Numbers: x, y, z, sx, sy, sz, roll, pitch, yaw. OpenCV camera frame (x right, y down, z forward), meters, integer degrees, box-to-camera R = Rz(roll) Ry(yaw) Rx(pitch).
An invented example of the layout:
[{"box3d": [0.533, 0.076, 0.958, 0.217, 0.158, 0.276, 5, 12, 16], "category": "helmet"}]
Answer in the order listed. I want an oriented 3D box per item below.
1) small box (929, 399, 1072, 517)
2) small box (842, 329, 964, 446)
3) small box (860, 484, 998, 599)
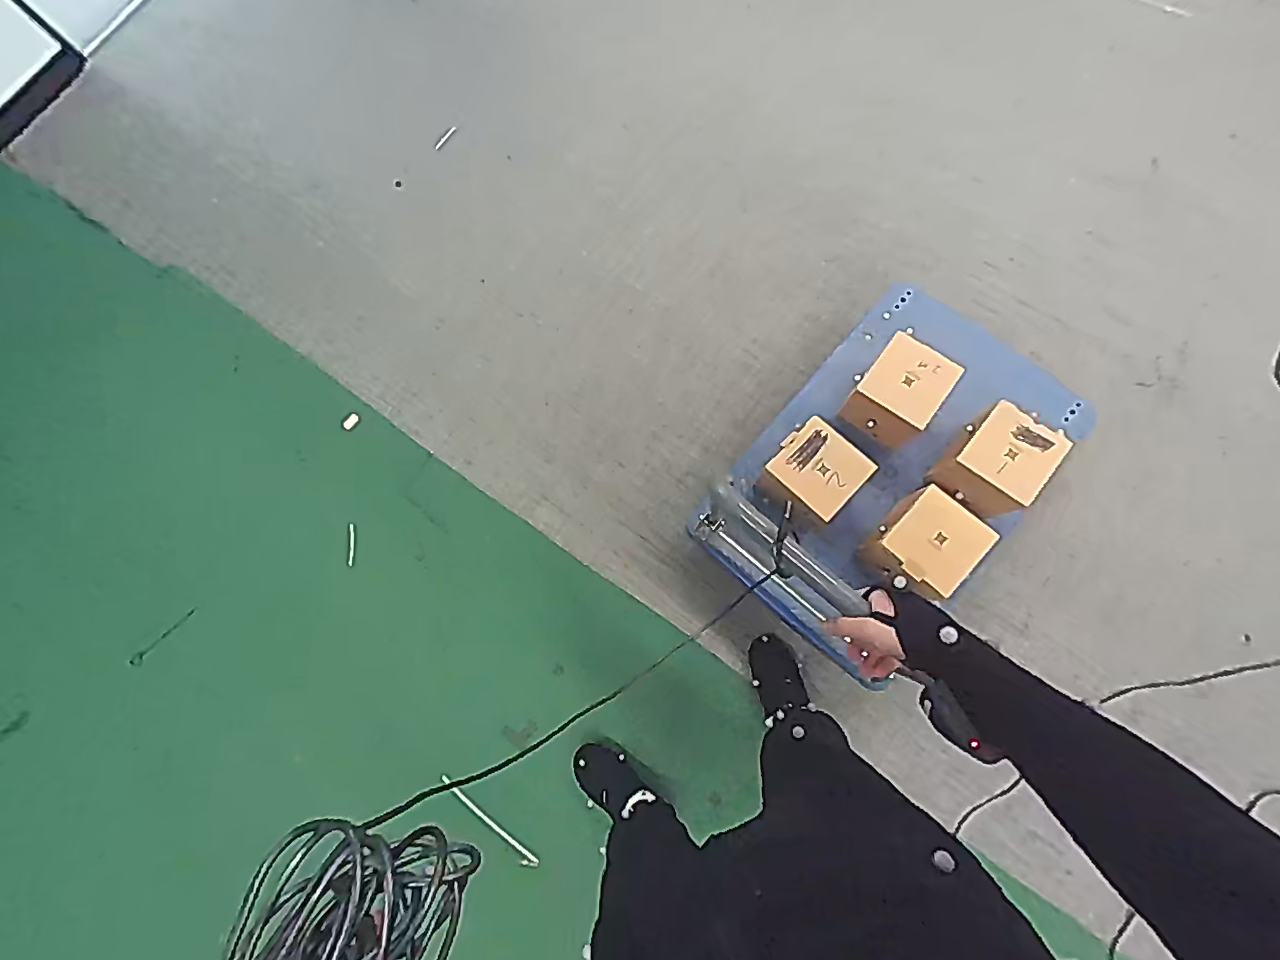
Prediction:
[{"box3d": [0.782, -0.042, 1.195, 0.168, 0.176, 0.179, 39, 84, 12], "category": "small box"}, {"box3d": [0.592, -0.203, 1.248, 0.168, 0.176, 0.179, 37, 83, 11], "category": "small box"}, {"box3d": [0.611, 0.137, 1.171, 0.168, 0.176, 0.179, 43, 85, 12], "category": "small box"}]
